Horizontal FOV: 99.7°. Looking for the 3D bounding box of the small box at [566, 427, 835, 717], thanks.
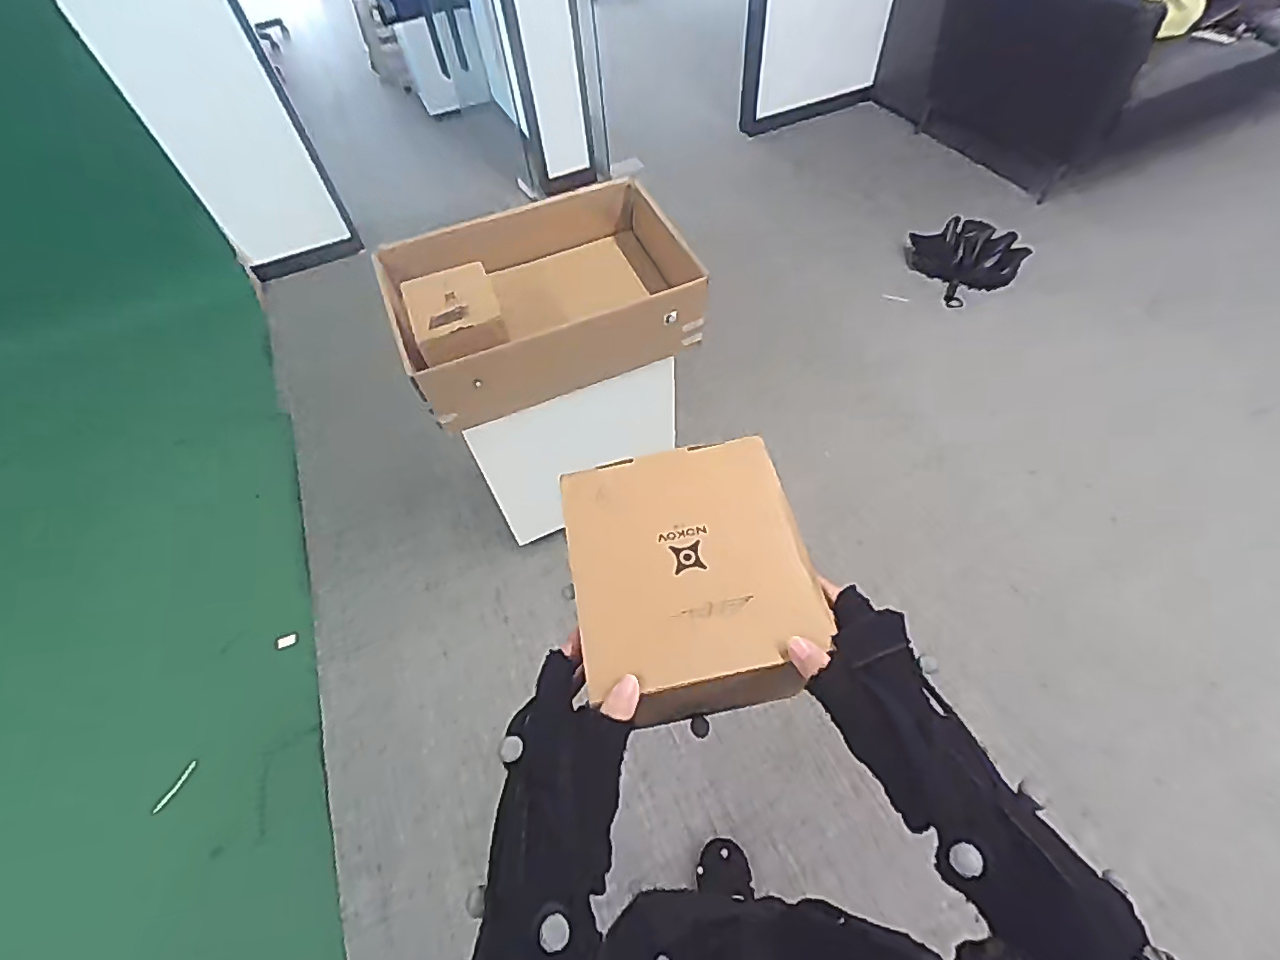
[{"bbox_3d":[0.038,0.084,0.459,0.168,0.176,0.179,-11,59,-2],"label":"small box"}]
